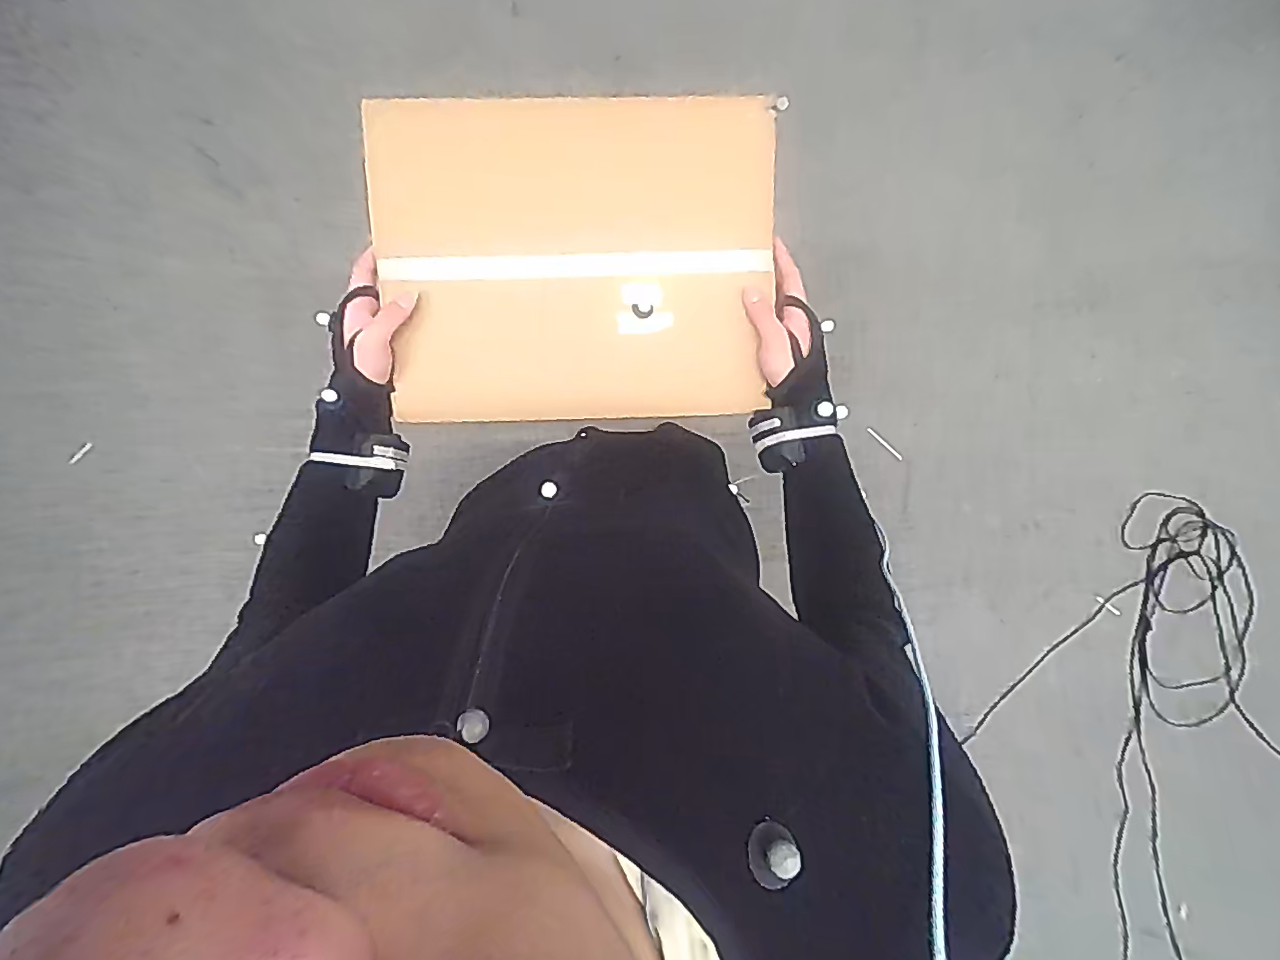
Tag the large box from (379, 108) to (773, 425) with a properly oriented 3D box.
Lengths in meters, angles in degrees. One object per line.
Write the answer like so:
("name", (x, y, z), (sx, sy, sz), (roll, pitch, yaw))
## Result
("large box", (-0.066, -0.242, 0.714), (0.408, 0.320, 0.320), (-2, 99, -2))
